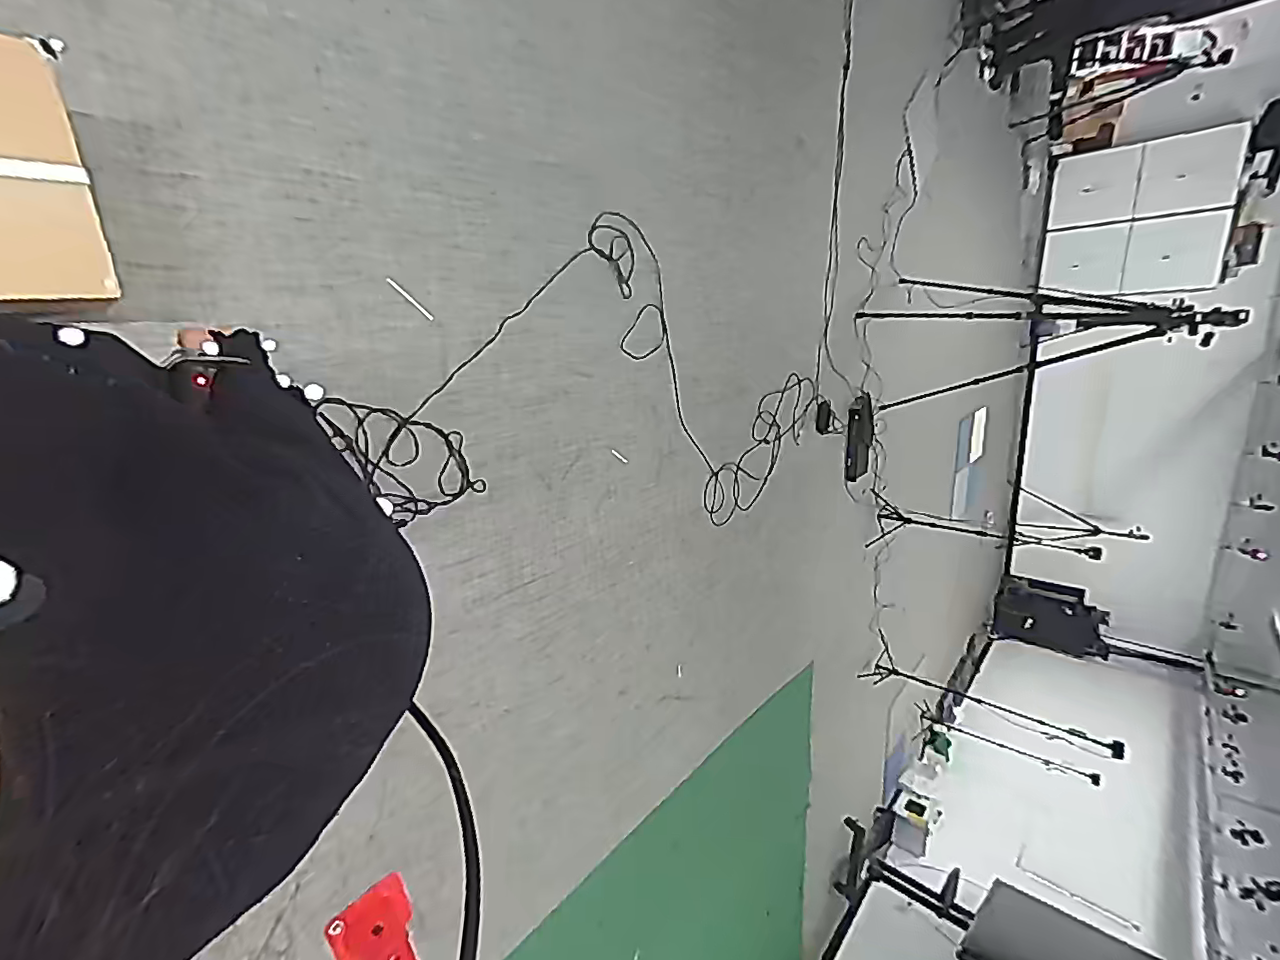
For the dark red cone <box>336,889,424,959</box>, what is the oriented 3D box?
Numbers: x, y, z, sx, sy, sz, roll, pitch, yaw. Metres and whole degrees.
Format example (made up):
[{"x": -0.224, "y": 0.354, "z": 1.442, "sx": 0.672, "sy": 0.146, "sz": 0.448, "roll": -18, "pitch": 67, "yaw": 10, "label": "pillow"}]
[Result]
[{"x": -0.579, "y": 1.263, "z": 1.352, "sx": 0.202, "sy": 0.394, "sz": 0.201, "roll": -27, "pitch": 119, "yaw": -41, "label": "dark red cone"}]
